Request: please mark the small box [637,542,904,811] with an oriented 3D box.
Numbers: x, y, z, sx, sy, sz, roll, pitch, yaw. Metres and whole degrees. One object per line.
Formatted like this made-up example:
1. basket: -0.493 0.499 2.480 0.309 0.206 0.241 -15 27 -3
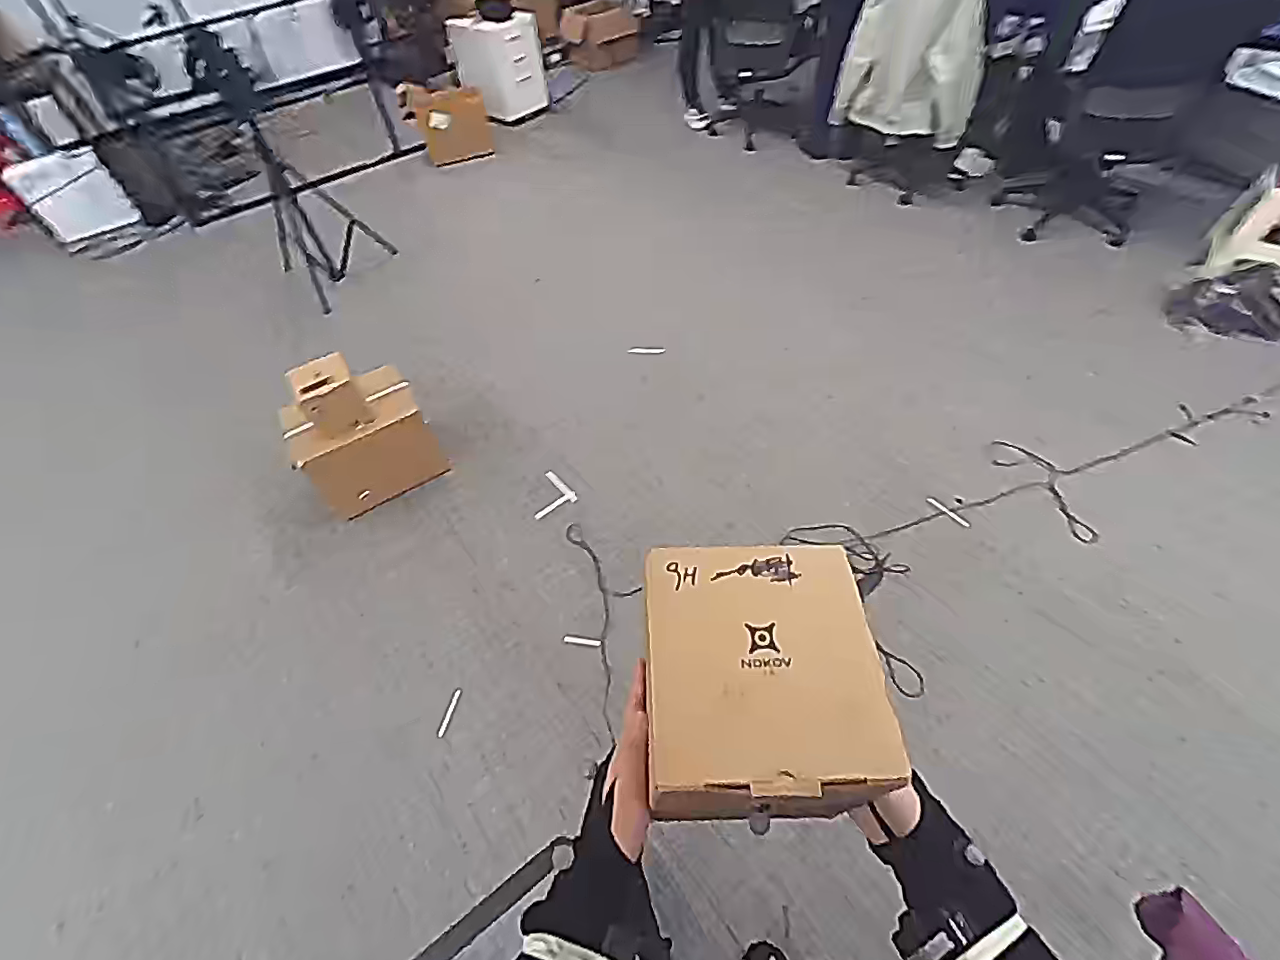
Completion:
1. small box: 0.084 0.169 0.452 0.168 0.176 0.179 0 53 -3
